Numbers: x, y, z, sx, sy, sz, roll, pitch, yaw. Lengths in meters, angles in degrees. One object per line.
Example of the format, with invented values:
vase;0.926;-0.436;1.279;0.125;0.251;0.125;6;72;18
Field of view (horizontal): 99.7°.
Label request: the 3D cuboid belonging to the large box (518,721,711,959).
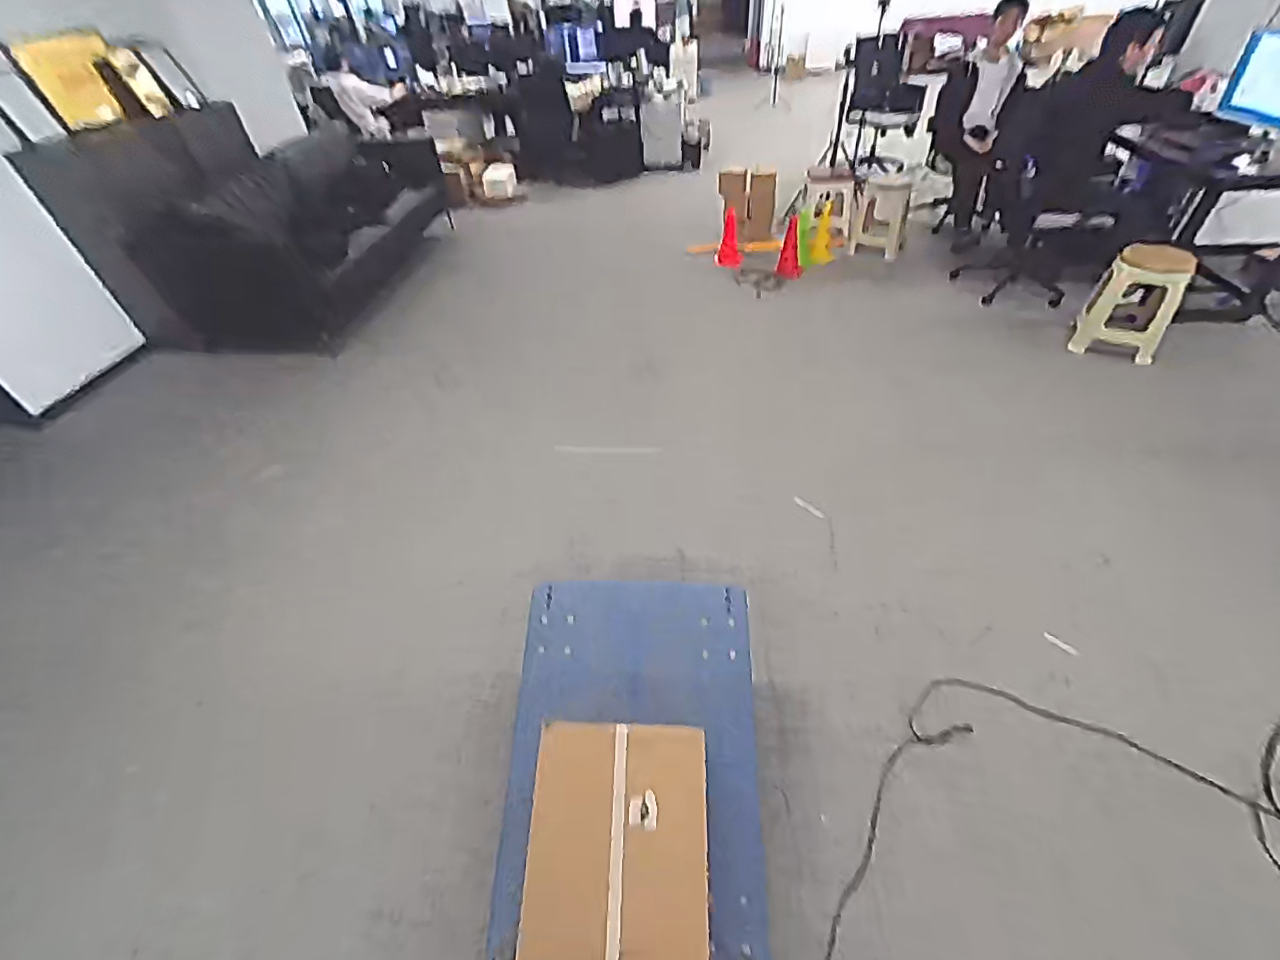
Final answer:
large box;-0.031;0.709;1.062;0.320;0.320;0.408;0;61;3
